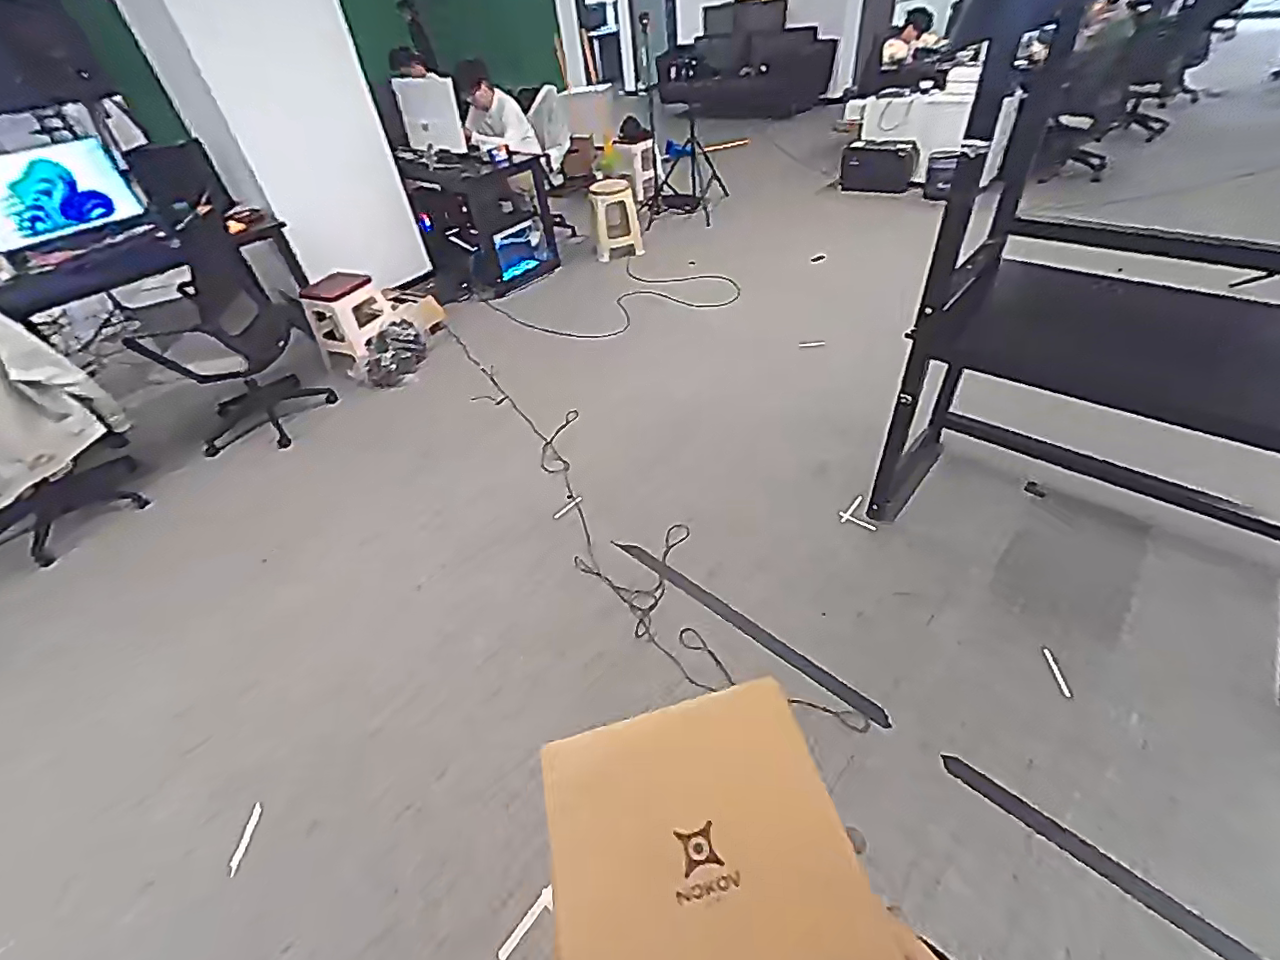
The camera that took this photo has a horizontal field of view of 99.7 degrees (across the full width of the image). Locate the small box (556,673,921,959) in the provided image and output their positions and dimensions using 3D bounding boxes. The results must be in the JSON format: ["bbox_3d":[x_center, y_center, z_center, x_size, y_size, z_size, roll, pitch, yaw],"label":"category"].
[{"bbox_3d":[0.049,0.261,0.351,0.168,0.176,0.179,-14,45,-5],"label":"small box"}]
